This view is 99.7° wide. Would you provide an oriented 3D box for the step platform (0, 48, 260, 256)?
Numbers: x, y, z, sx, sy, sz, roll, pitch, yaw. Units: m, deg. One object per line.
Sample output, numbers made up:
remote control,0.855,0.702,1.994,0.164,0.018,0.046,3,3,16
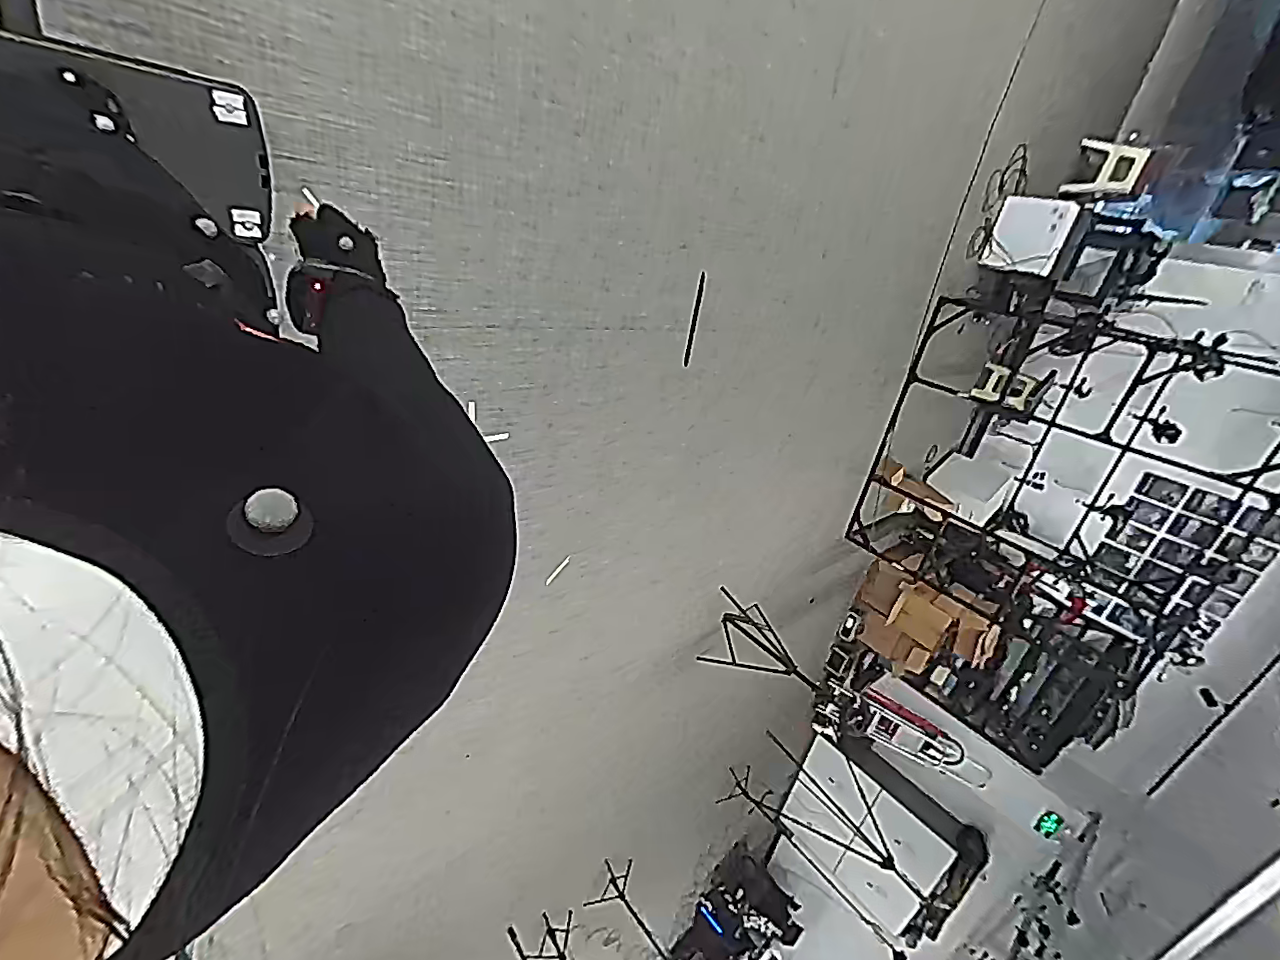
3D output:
step platform,-1.060,-0.562,0.913,0.684,0.204,0.286,-15,126,-41
